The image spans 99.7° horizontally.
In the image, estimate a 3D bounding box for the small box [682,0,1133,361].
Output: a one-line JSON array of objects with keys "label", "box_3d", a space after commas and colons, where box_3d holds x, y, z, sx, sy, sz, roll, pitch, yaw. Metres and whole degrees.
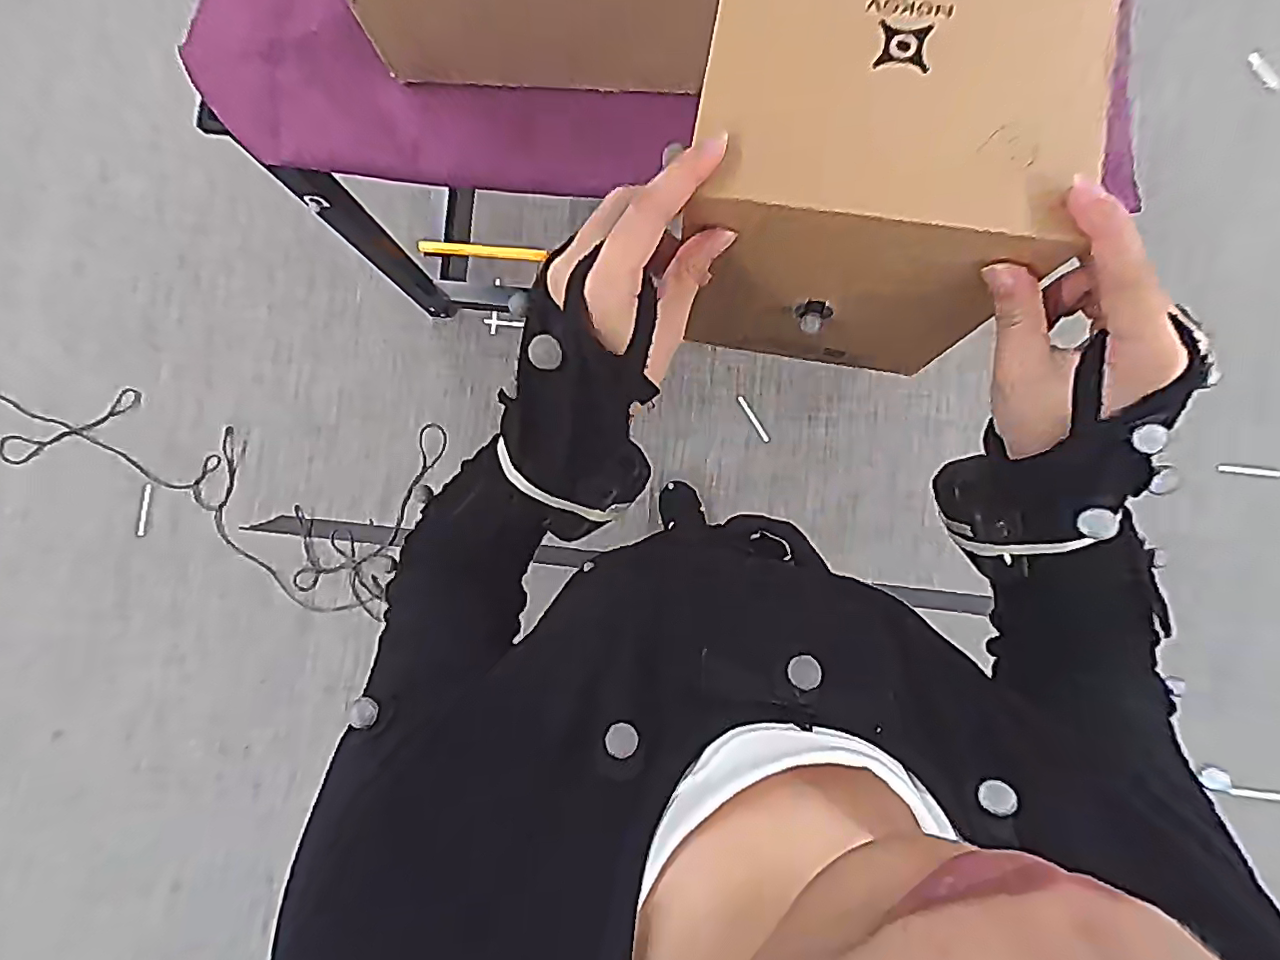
[{"label": "small box", "box_3d": [0.120, -0.182, 0.303, 0.168, 0.176, 0.179, 11, 83, 5]}]
